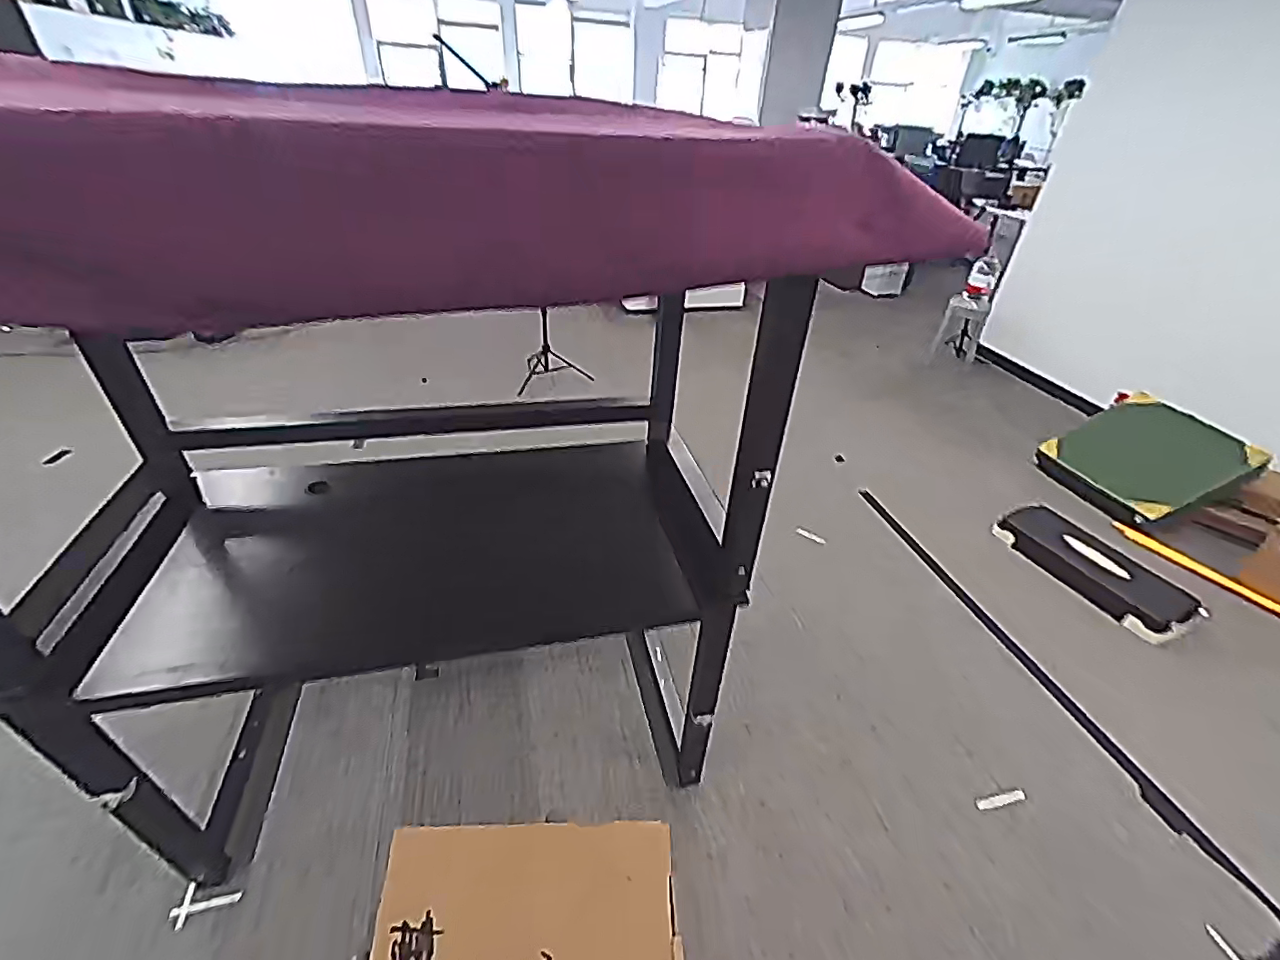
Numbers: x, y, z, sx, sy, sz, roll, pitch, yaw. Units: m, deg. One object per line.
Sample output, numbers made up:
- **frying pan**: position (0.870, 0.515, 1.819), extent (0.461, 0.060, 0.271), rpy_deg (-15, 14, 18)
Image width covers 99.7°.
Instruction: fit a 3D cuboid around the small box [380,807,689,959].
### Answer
- **small box**: position (-0.073, 0.322, 0.361), extent (0.179, 0.176, 0.168), rpy_deg (6, 52, -11)
